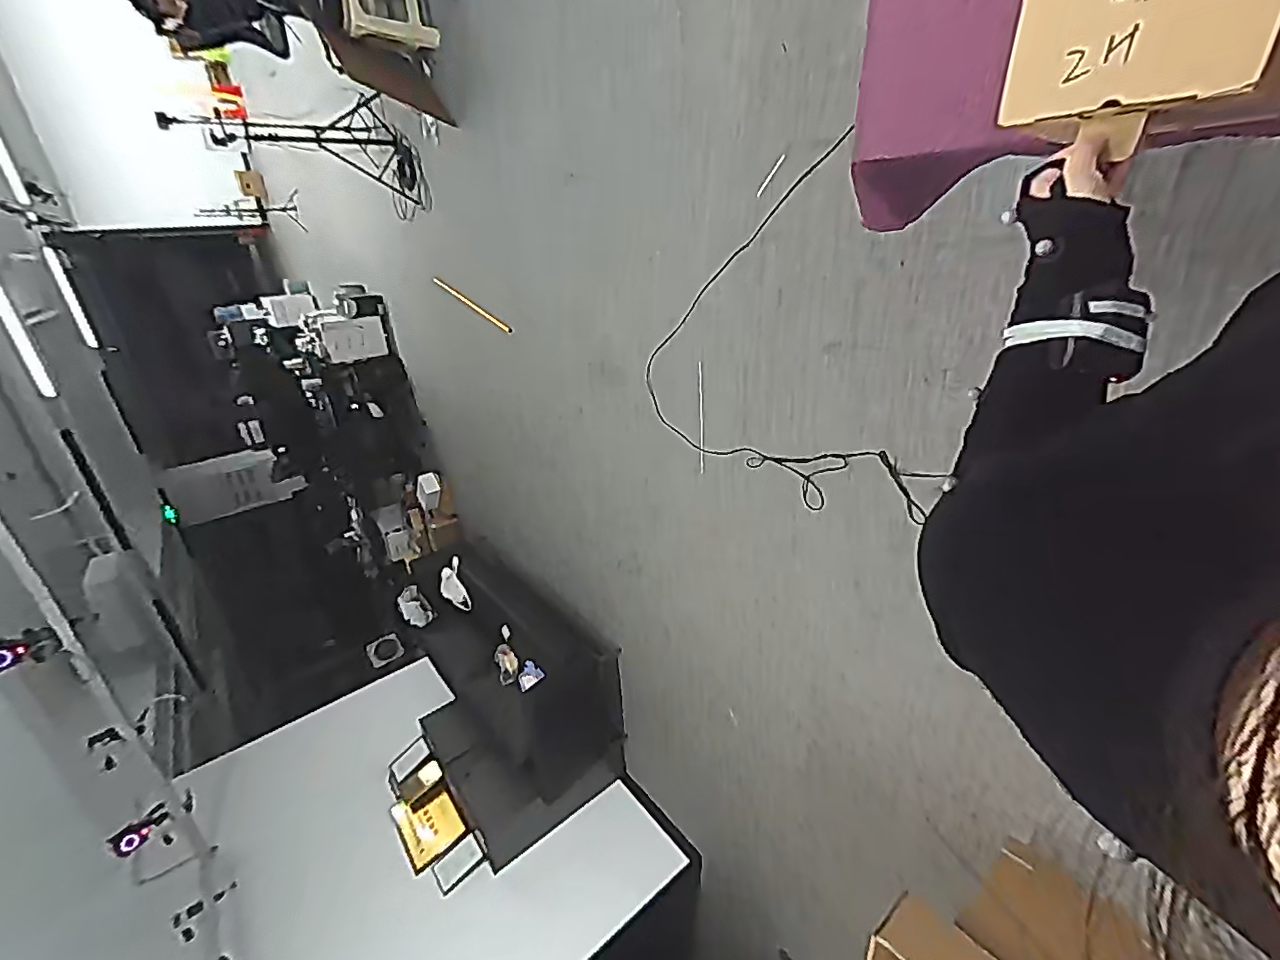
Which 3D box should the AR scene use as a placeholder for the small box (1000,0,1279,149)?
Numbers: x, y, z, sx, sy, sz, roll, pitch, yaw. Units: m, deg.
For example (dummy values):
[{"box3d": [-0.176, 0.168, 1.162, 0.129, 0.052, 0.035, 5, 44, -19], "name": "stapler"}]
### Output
[{"box3d": [0.441, -0.391, 0.448, 0.168, 0.176, 0.179, 27, 126, 46], "name": "small box"}]
